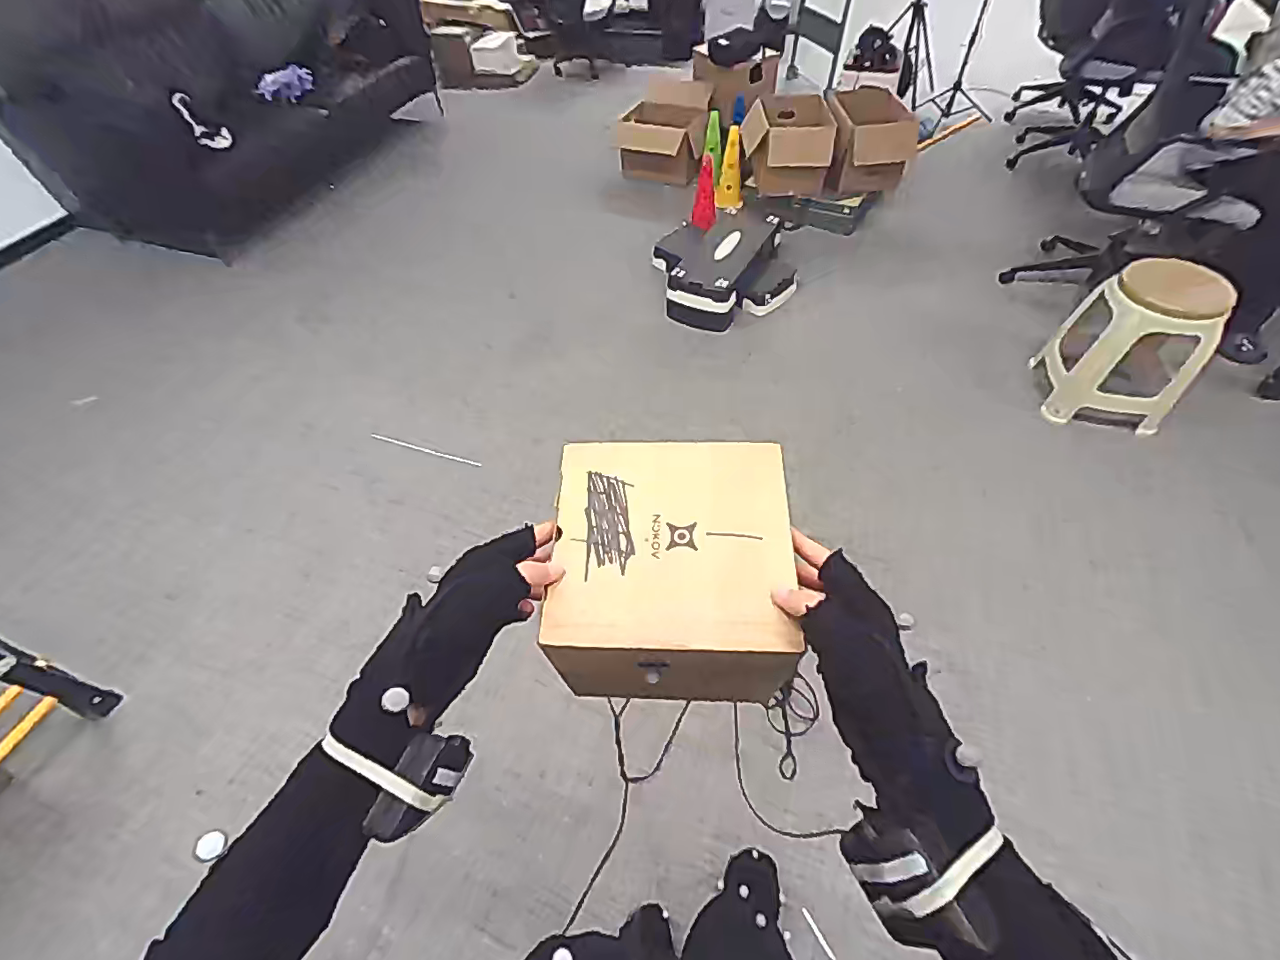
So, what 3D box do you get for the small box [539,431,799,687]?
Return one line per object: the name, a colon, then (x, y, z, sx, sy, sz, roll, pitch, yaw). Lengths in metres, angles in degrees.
small box: (0.025, 0.074, 0.465, 0.179, 0.176, 0.168, 1, 57, 3)
